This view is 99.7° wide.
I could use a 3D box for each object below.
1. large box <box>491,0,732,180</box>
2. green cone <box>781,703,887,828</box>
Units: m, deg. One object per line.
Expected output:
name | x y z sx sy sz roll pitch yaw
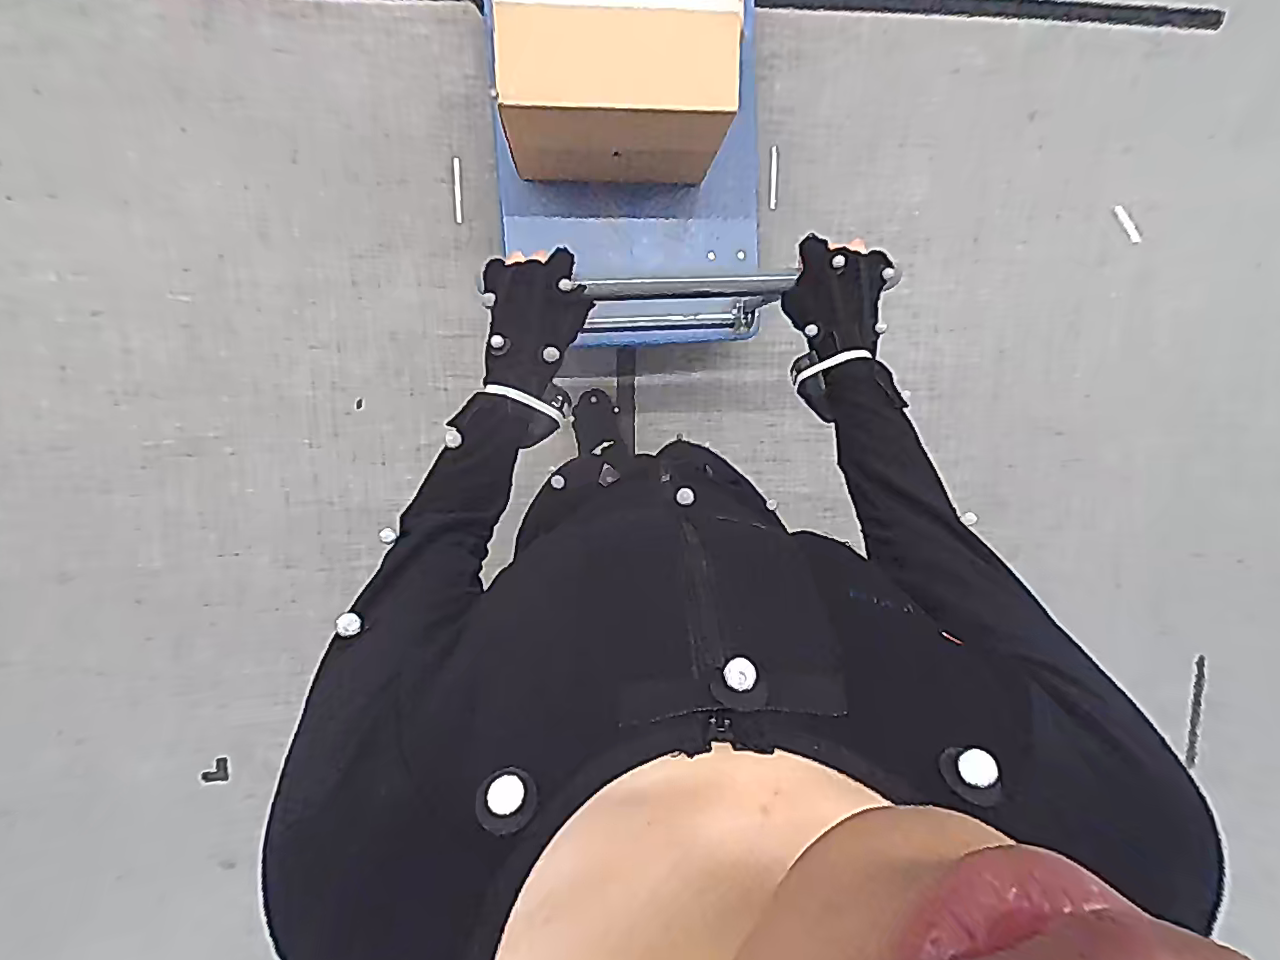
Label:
large box | -0.054 -0.795 1.037 0.408 0.320 0.320 -2 98 -4
green cone | 0.545 0.789 1.458 0.202 0.368 0.200 3 98 -7
